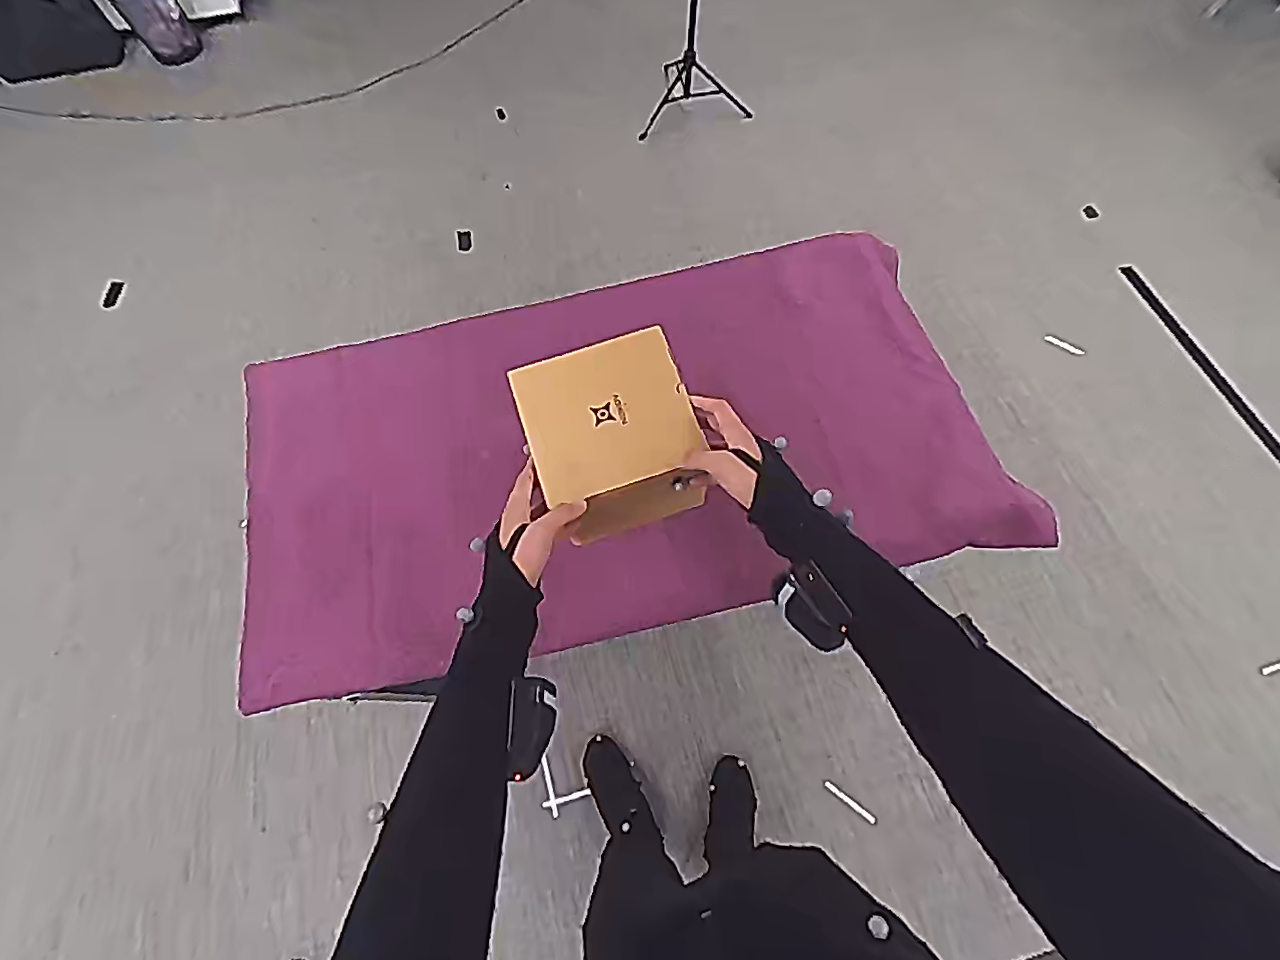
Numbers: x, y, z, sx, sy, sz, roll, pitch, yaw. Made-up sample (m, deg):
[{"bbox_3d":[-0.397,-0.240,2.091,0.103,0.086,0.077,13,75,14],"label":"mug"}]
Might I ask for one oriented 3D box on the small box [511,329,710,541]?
[{"bbox_3d":[-0.031,-0.042,0.637,0.179,0.176,0.168,-18,72,-5],"label":"small box"}]
